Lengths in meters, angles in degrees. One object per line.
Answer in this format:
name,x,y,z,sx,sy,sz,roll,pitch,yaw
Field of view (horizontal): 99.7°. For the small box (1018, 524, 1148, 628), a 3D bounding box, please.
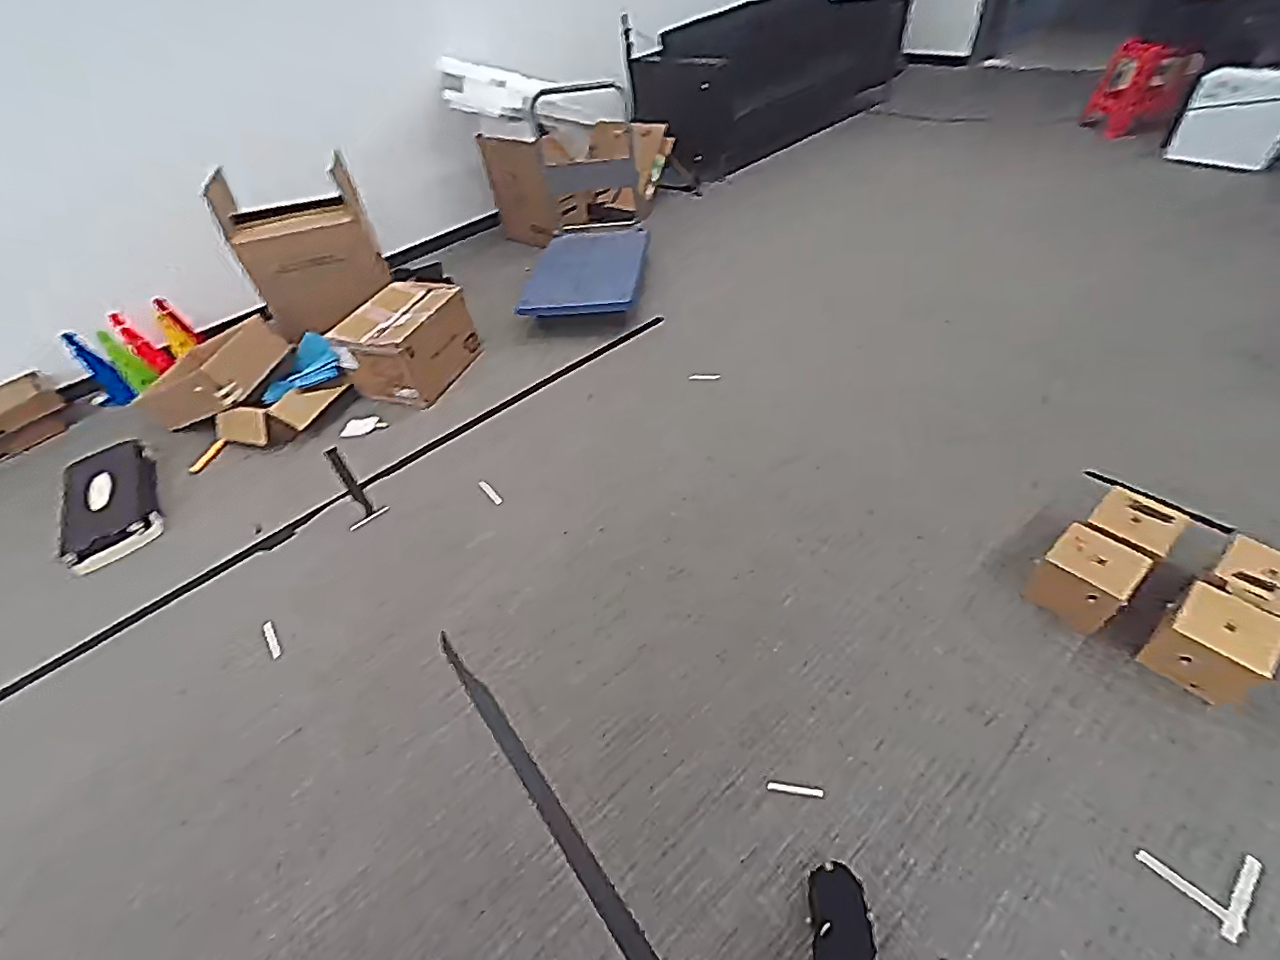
small box,1.119,0.252,1.377,0.168,0.176,0.179,-35,50,-23
